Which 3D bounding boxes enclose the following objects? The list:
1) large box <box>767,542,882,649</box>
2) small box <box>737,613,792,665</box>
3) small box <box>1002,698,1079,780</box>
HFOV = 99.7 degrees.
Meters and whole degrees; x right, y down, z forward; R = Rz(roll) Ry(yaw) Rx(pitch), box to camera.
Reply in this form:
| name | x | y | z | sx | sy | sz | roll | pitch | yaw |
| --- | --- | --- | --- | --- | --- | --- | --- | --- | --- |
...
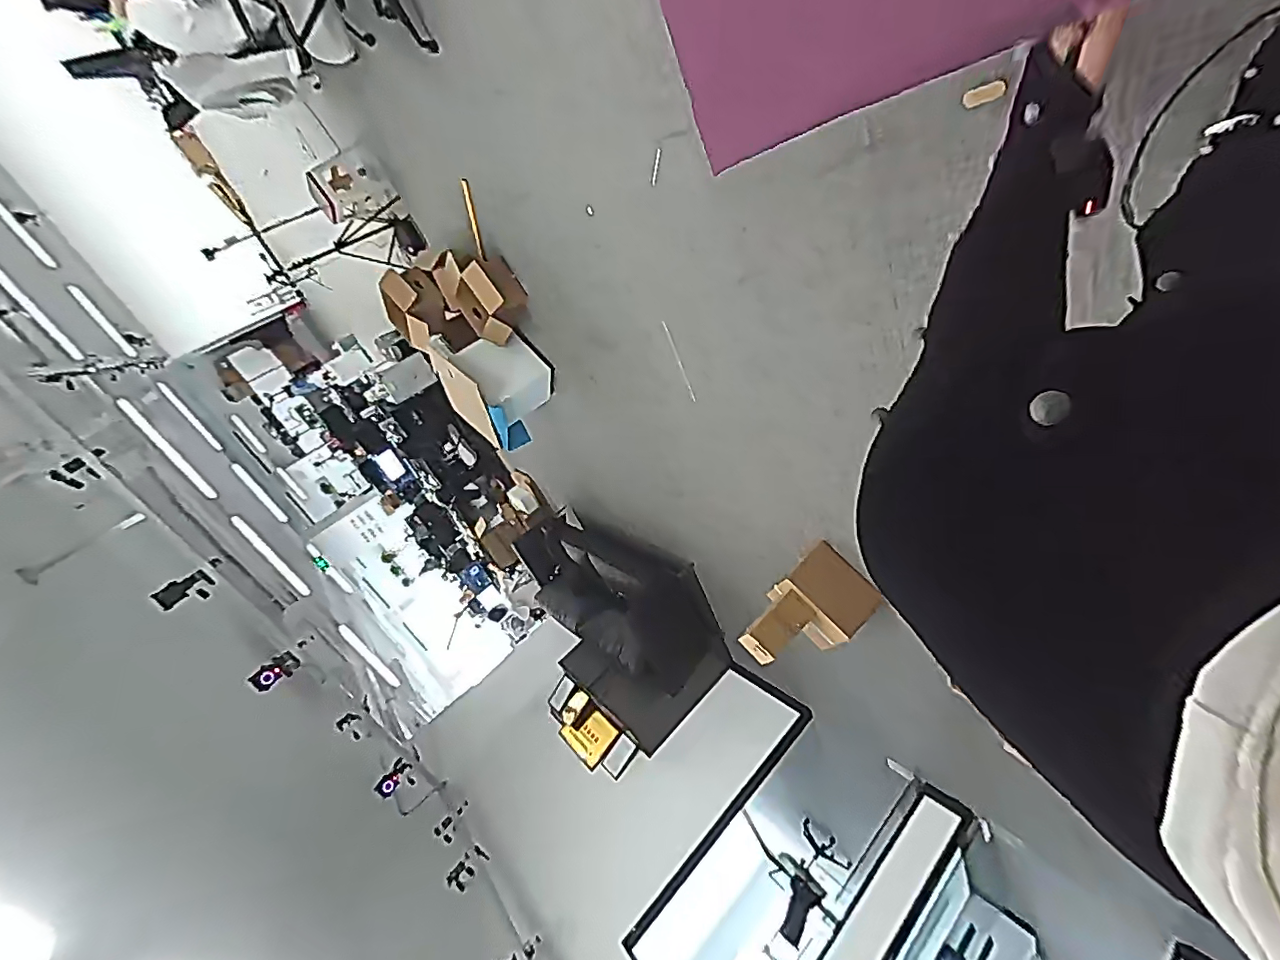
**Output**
| name | x | y | z | sx | sy | sz | roll | pitch | yaw |
| --- | --- | --- | --- | --- | --- | --- | --- | --- | --- |
| large box | 0.943 | 0.595 | 2.791 | 0.408 | 0.320 | 0.320 | 44 | 156 | 14 |
| small box | 0.606 | 0.764 | 2.612 | 0.168 | 0.176 | 0.179 | 45 | 156 | 13 |
| small box | 1.470 | 0.946 | 1.985 | 0.168 | 0.176 | 0.179 | 29 | 148 | 45 |
